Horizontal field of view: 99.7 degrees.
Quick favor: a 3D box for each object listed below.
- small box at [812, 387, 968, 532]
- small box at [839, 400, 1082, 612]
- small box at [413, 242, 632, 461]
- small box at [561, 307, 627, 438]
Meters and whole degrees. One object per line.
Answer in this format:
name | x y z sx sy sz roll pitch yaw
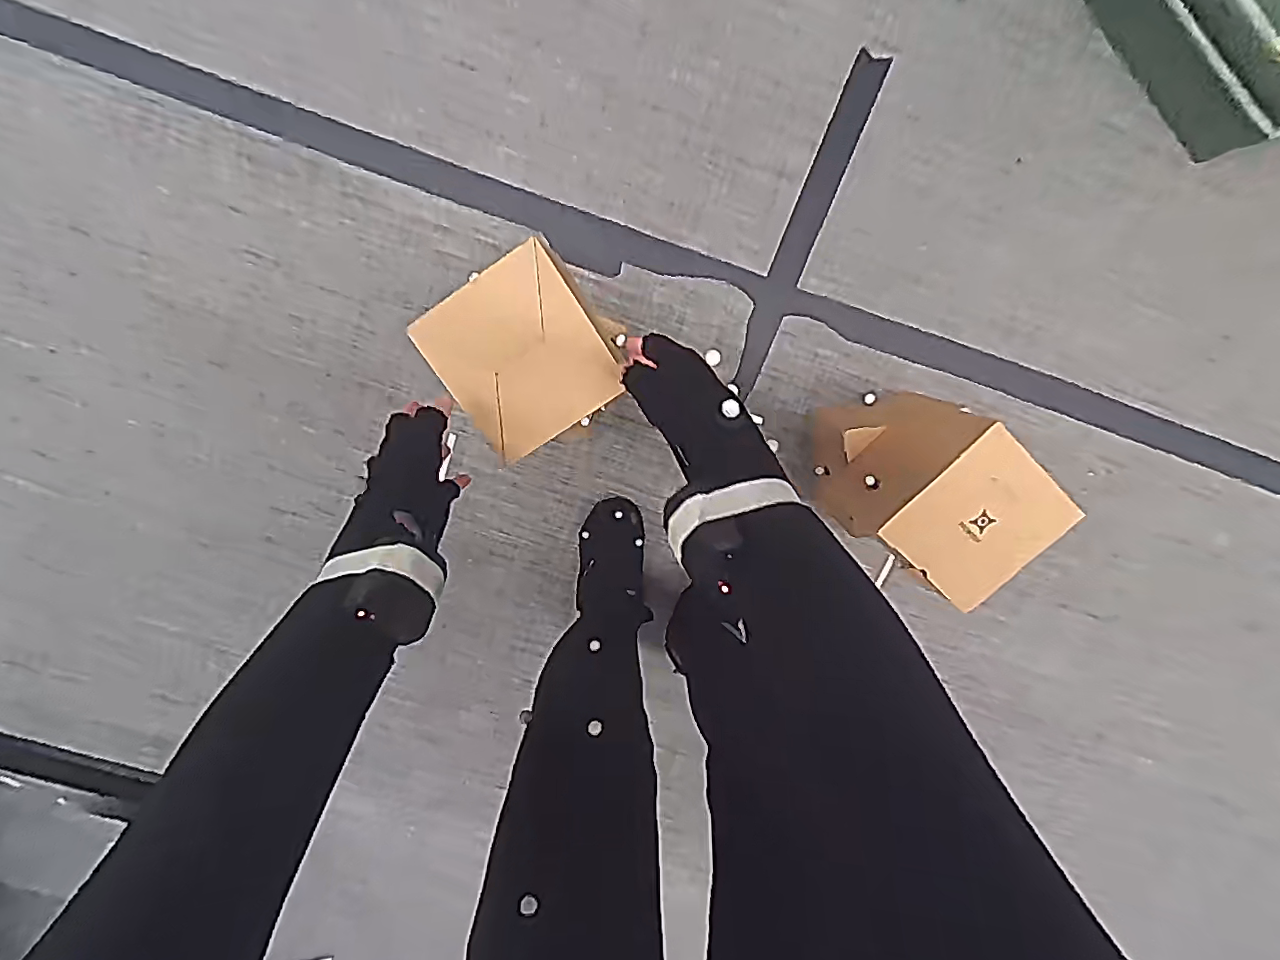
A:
small box | 0.378 -0.039 0.835 0.179 0.176 0.168 -13 106 3
small box | 0.378 0.023 0.681 0.168 0.176 0.179 41 102 -13
small box | -0.126 -0.147 0.630 0.168 0.176 0.179 -36 104 10
small box | -0.126 -0.182 0.794 0.179 0.176 0.168 21 105 -5
